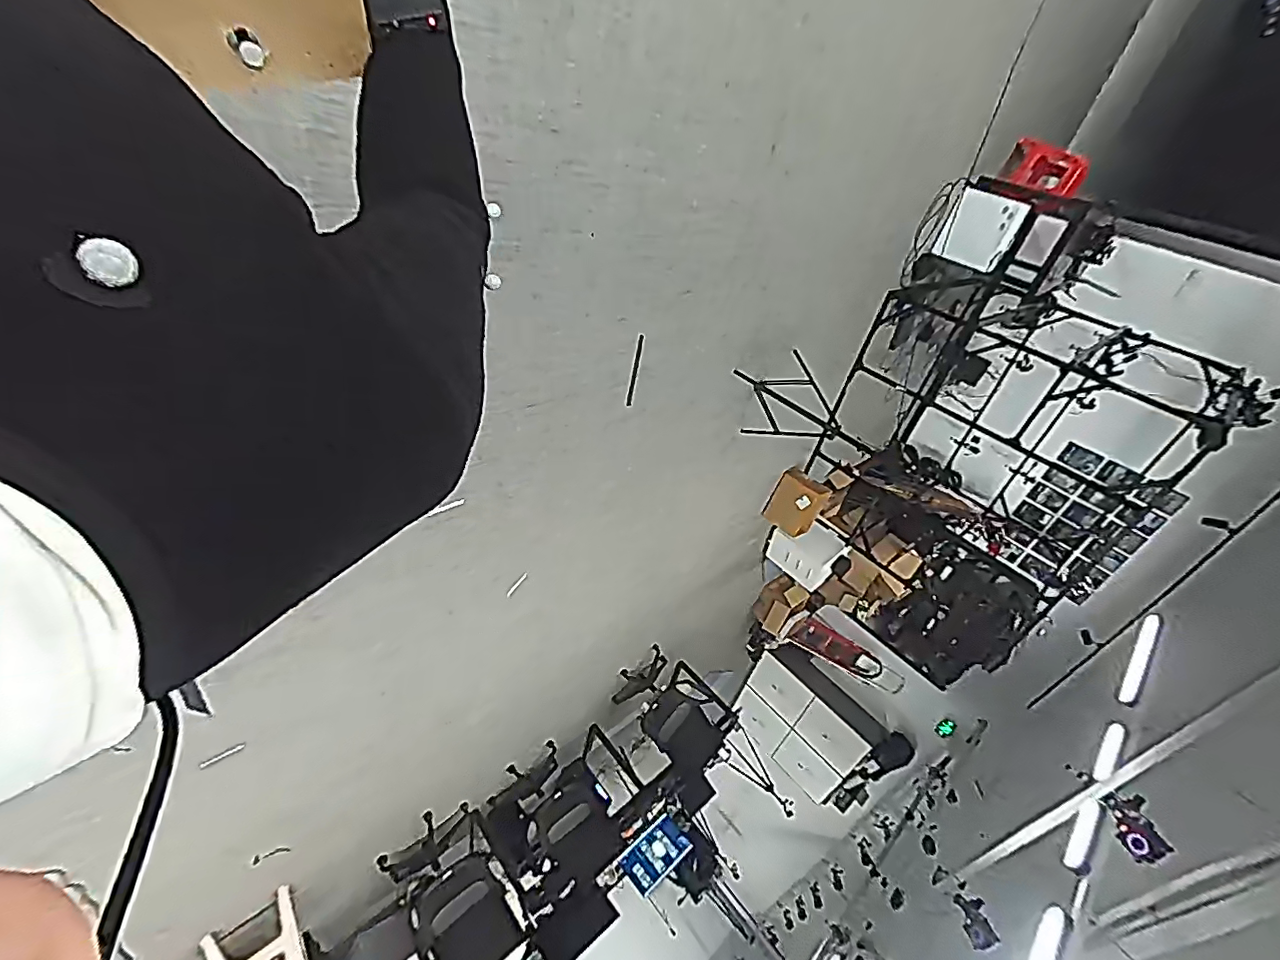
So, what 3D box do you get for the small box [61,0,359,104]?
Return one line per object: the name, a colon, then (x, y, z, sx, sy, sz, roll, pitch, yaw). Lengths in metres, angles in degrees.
small box: (-0.312, -0.398, 0.364, 0.179, 0.168, 0.176, -22, 179, -18)
